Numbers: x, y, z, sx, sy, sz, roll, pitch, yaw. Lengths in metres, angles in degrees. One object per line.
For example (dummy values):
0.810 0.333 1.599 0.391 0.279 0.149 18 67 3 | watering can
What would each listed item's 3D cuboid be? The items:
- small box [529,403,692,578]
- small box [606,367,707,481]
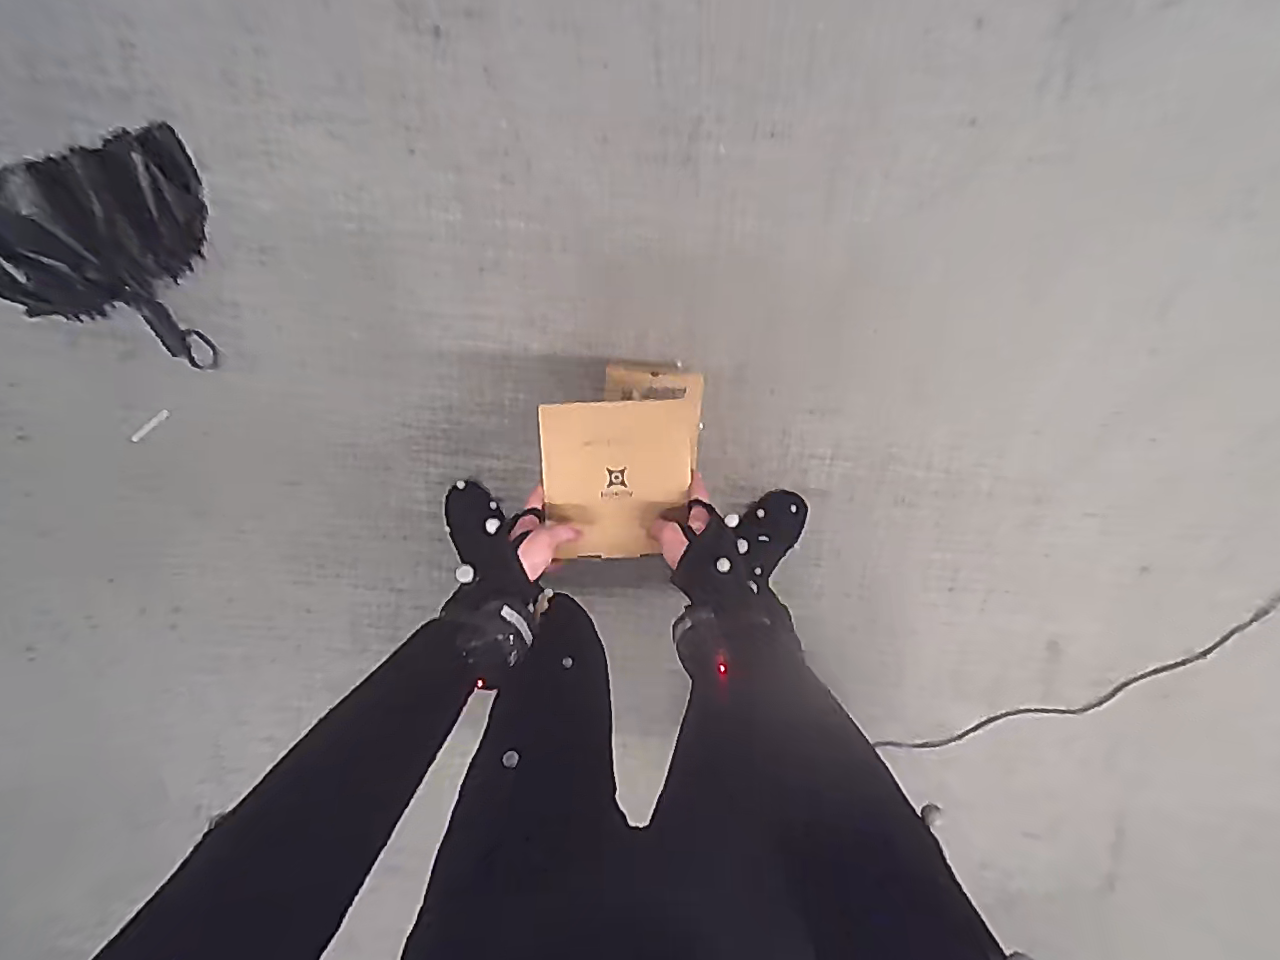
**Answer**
-0.028 0.003 0.639 0.168 0.176 0.179 -3 100 0 | small box
0.020 -0.107 0.966 0.168 0.176 0.179 3 106 -1 | small box
